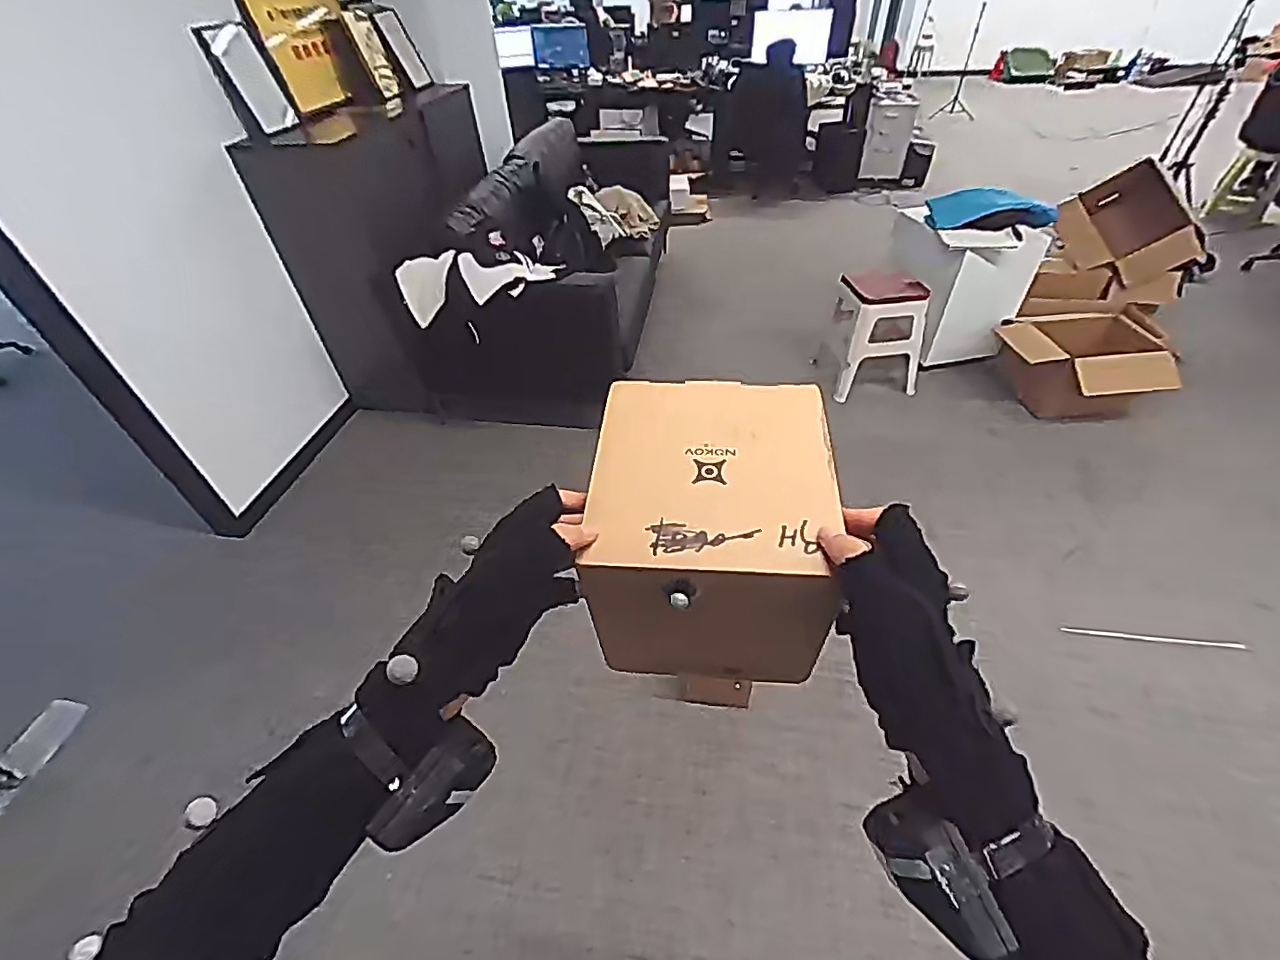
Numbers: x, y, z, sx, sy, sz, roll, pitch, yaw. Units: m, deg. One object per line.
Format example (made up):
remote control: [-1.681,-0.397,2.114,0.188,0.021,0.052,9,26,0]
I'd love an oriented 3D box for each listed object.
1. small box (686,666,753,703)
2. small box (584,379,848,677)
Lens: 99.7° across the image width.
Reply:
small box: [0.221,0.501,1.506,0.179,0.176,0.168,5,44,8]
small box: [0.059,0.038,0.444,0.168,0.176,0.179,2,49,8]
